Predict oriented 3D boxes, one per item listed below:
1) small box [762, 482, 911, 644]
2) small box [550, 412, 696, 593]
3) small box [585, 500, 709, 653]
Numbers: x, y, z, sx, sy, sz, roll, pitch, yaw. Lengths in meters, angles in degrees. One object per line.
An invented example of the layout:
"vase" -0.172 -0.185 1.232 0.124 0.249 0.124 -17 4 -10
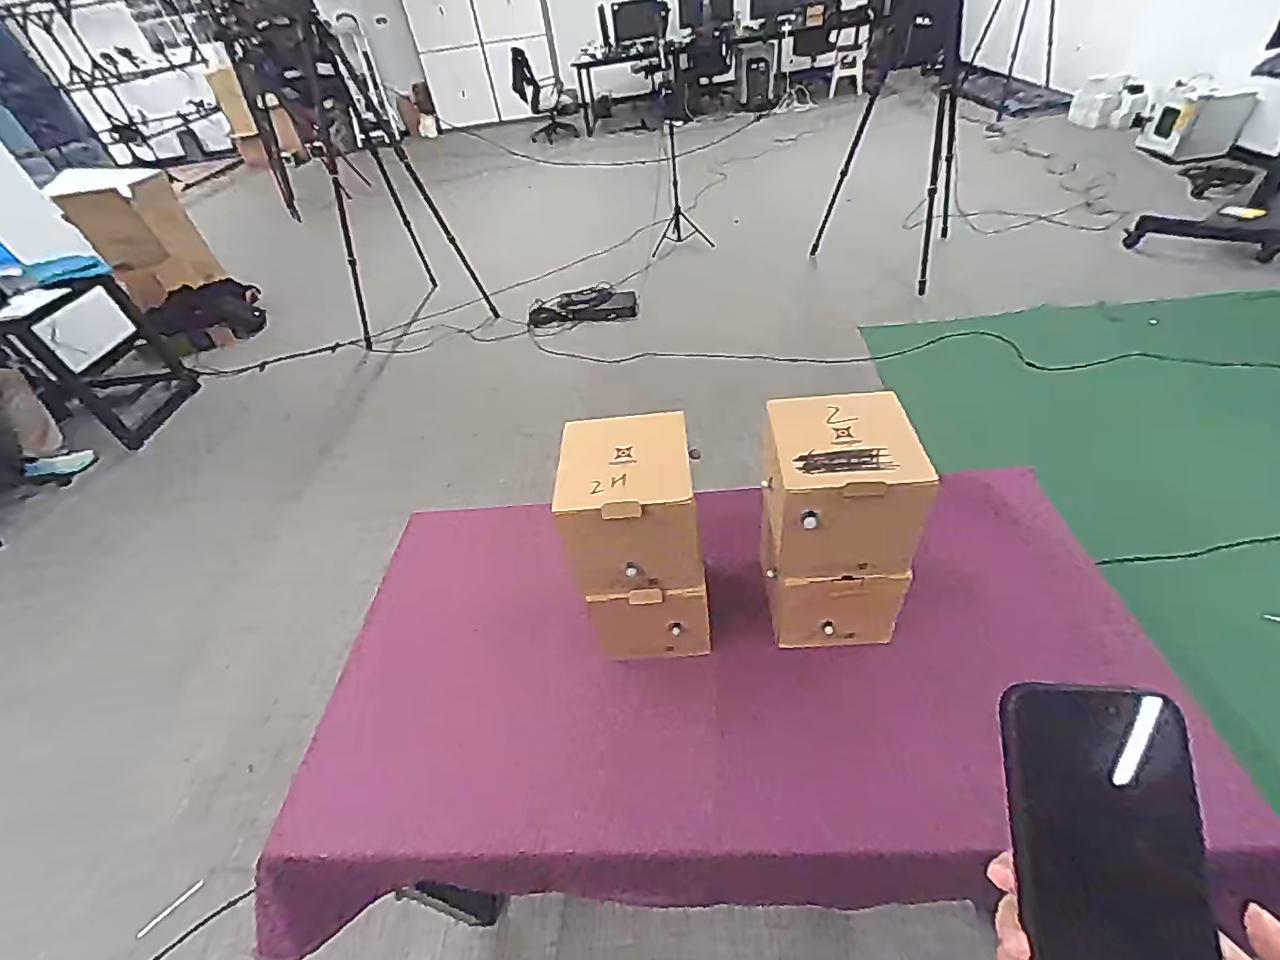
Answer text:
"small box" 0.280 0.126 0.819 0.168 0.176 0.179 -5 44 6
"small box" -0.014 0.031 0.734 0.168 0.176 0.179 -5 43 5
"small box" 0.017 0.155 0.839 0.168 0.176 0.179 -5 43 5
